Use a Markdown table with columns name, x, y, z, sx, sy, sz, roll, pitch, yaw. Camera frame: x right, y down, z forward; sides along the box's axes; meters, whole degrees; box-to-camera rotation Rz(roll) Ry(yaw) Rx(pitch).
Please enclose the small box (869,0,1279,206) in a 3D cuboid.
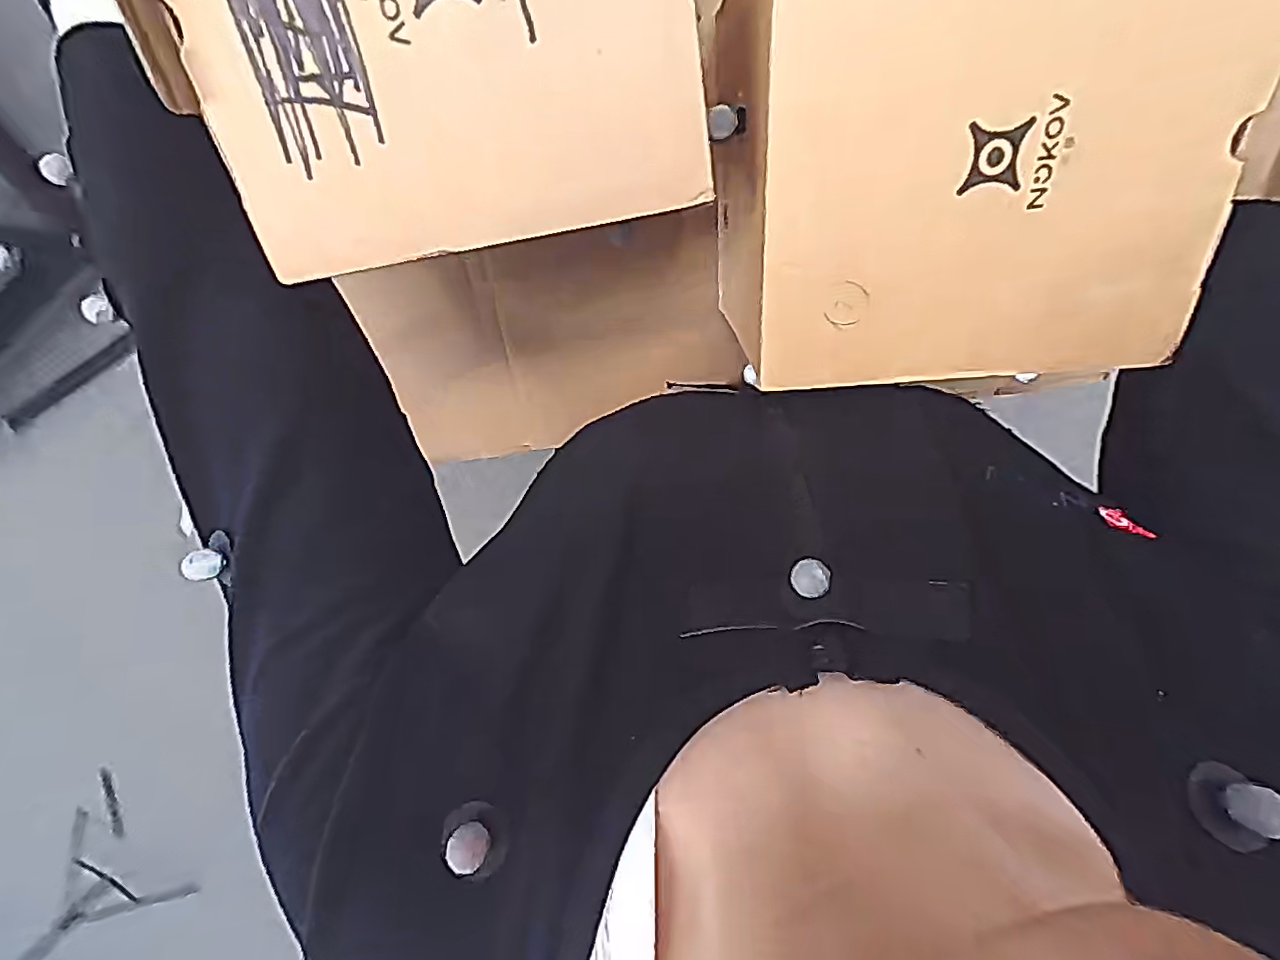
| name | x | y | z | sx | sy | sz | roll | pitch | yaw |
| --- | --- | --- | --- | --- | --- | --- | --- | --- | --- |
| small box | 0.228 | -0.217 | 0.214 | 0.179 | 0.176 | 0.168 | 8 | 125 | -5 |
